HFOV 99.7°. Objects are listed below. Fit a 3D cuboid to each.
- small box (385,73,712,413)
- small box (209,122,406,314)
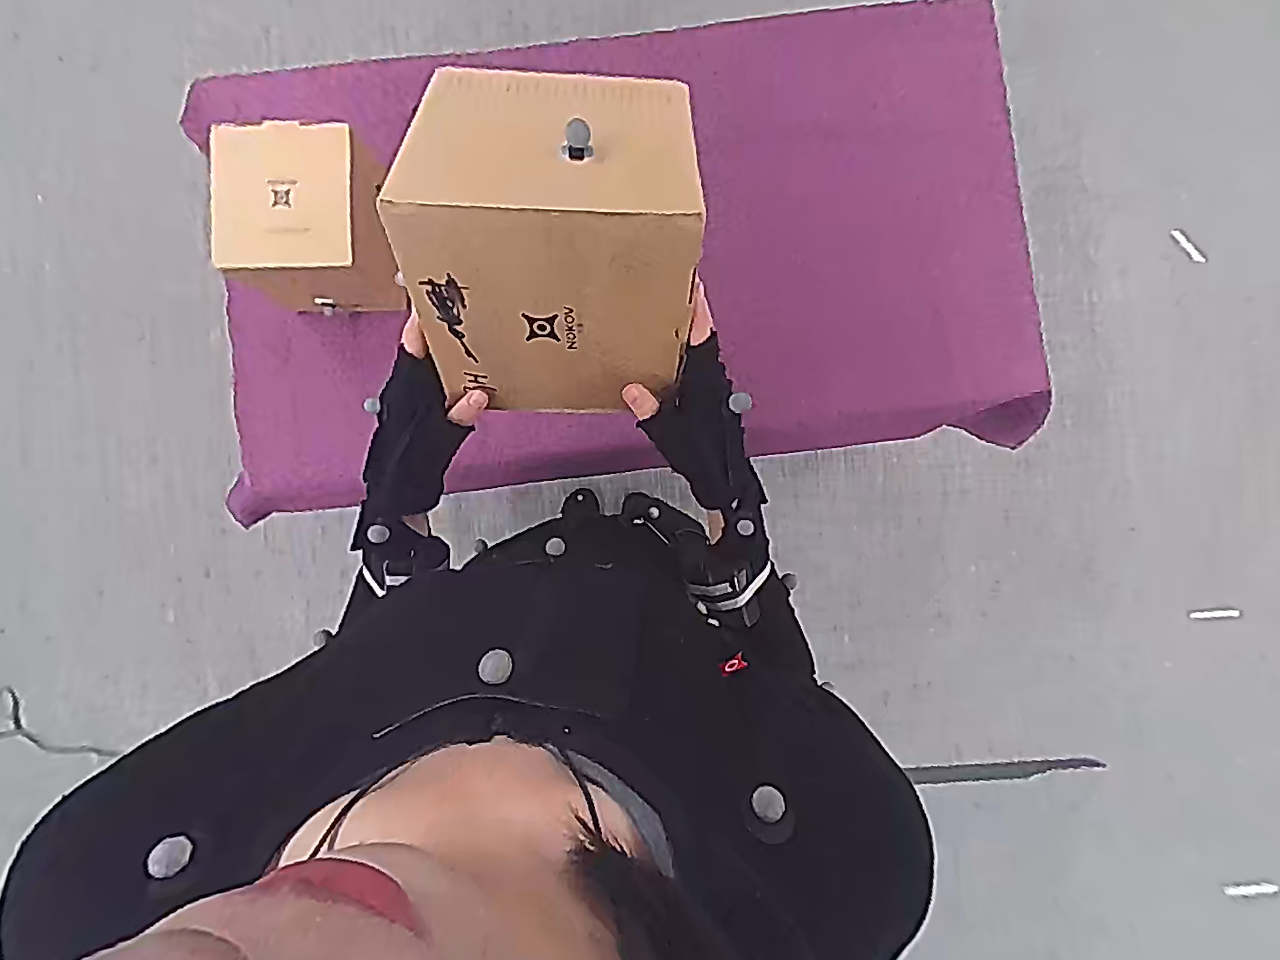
[{"bbox_3d":[-0.055,-0.166,0.393,0.179,0.168,0.176,1,55,-4],"label":"small box"},{"bbox_3d":[-0.424,-0.334,0.716,0.168,0.176,0.179,-2,89,-1],"label":"small box"}]
